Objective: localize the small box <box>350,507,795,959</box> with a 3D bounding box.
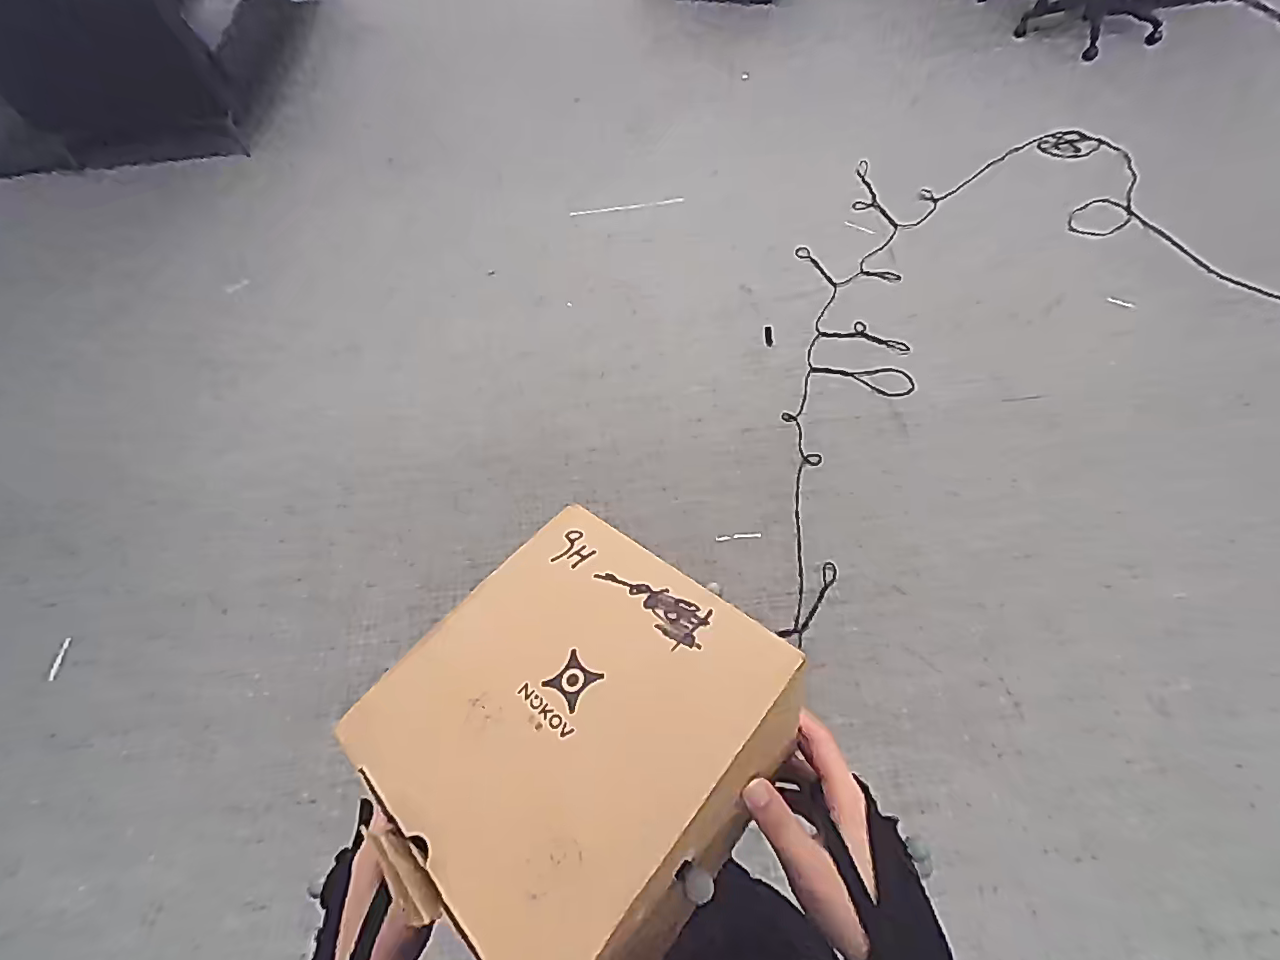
[{"bbox_3d":[-0.021,0.157,0.328,0.168,0.176,0.179,30,63,32],"label":"small box"}]
